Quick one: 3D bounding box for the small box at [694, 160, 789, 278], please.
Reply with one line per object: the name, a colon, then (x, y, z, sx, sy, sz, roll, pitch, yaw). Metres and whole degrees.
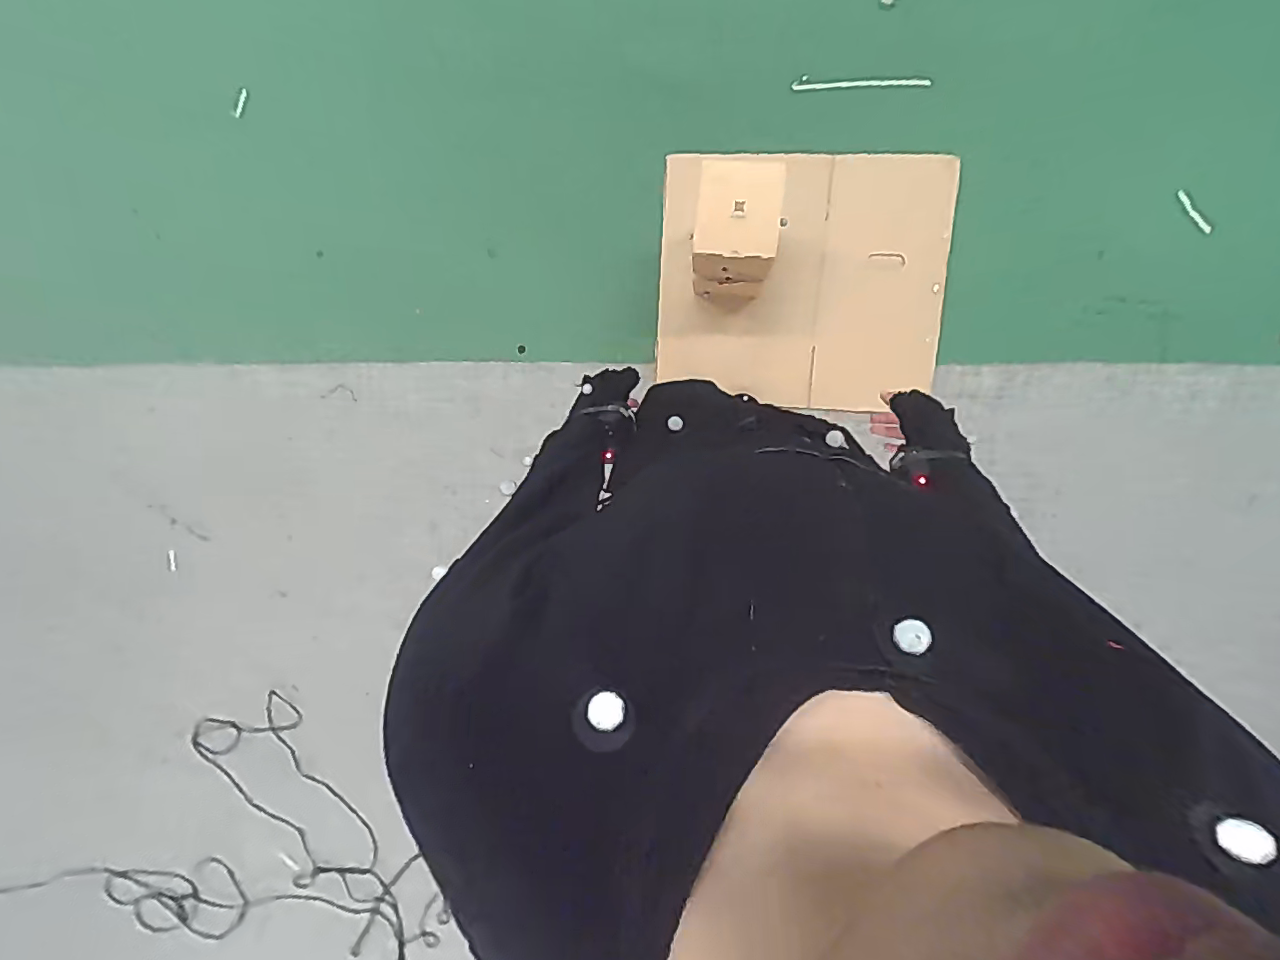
small box: (0.202, -0.531, 1.118, 0.168, 0.176, 0.179, 6, 99, 6)

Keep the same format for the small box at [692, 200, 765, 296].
small box: (0.215, -0.542, 1.280, 0.168, 0.176, 0.179, 5, 98, 7)
